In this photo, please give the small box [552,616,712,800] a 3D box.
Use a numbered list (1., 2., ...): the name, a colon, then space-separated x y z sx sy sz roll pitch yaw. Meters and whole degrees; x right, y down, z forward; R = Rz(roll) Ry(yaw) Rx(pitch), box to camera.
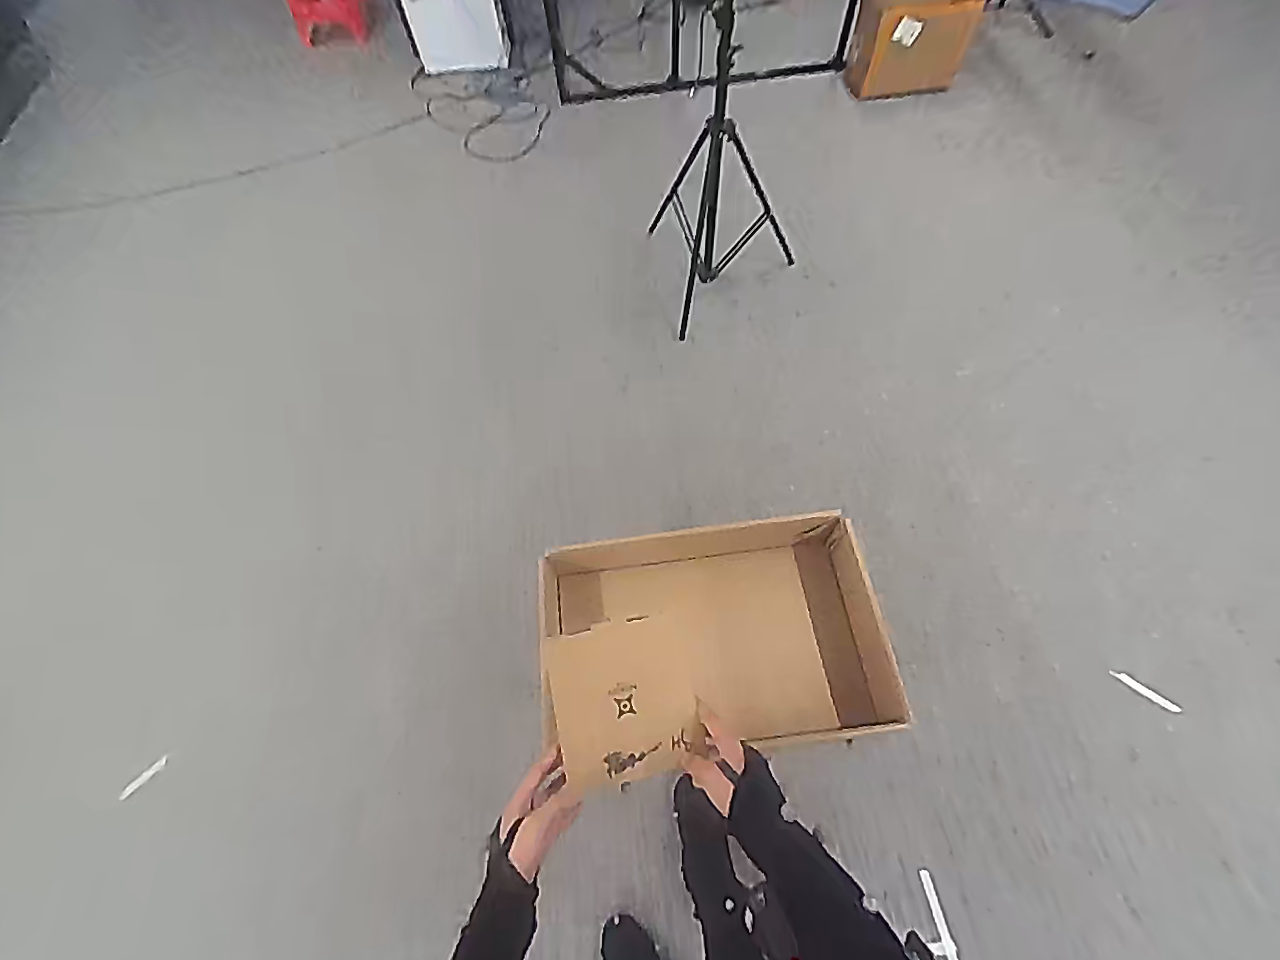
1. small box: -0.021 0.290 0.708 0.168 0.176 0.179 -9 70 -9
